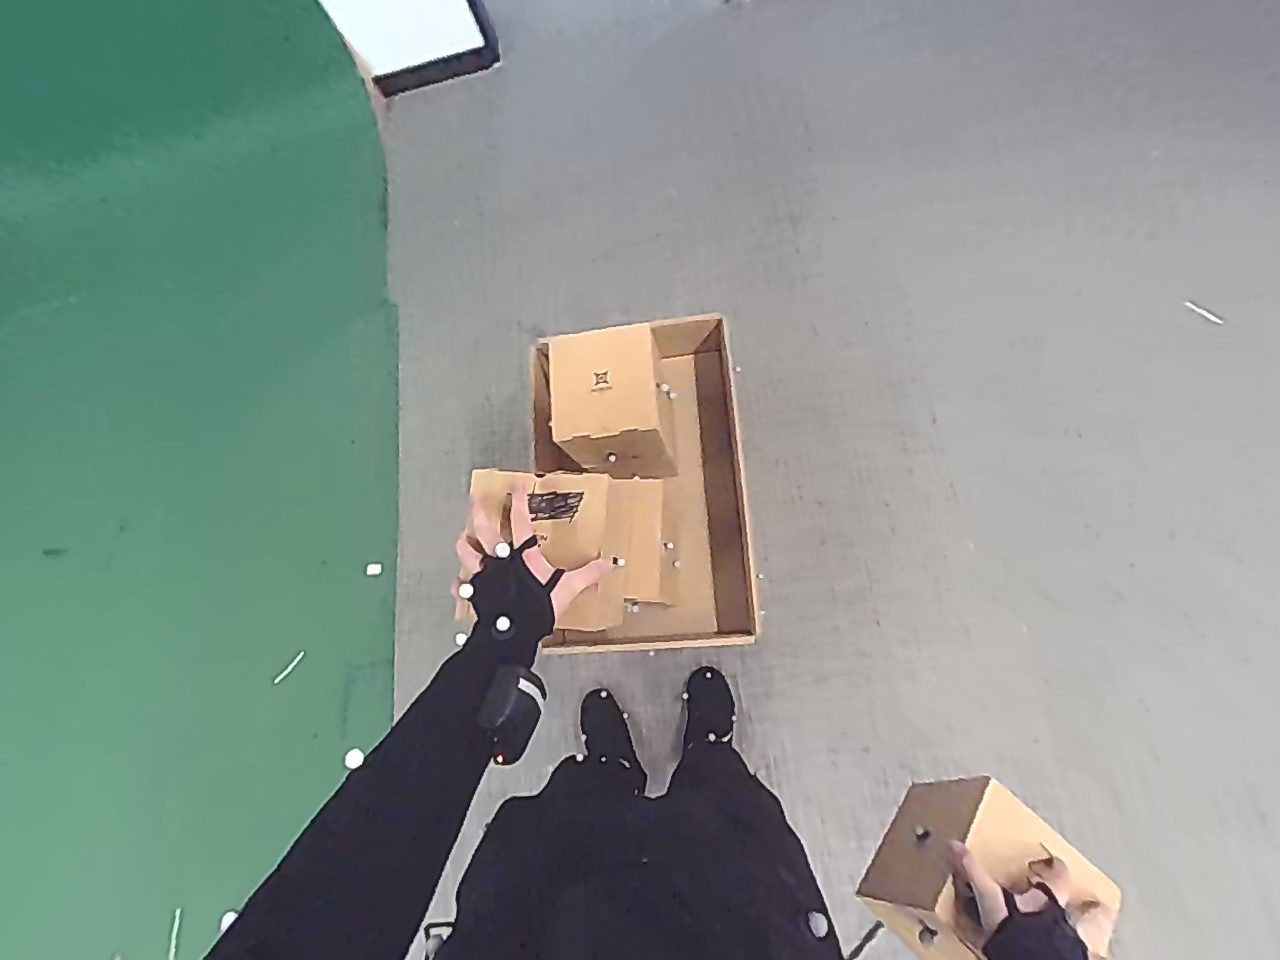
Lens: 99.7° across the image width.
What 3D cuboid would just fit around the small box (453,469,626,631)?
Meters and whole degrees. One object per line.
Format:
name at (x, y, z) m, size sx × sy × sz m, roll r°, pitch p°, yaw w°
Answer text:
small box at (-0.115, 0.092, 0.693) m, size 0.168 × 0.176 × 0.179 m, roll 3°, pitch 79°, yaw 8°

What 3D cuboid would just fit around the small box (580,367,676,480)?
small box at (-0.022, -0.103, 1.076) m, size 0.168 × 0.176 × 0.179 m, roll -6°, pitch 77°, yaw 9°

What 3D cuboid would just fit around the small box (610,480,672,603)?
small box at (-0.040, 0.103, 0.857) m, size 0.168 × 0.176 × 0.179 m, roll 1°, pitch 76°, yaw 9°

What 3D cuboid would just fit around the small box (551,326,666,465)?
small box at (-0.048, -0.136, 0.919) m, size 0.168 × 0.176 × 0.179 m, roll -6°, pitch 78°, yaw 7°
